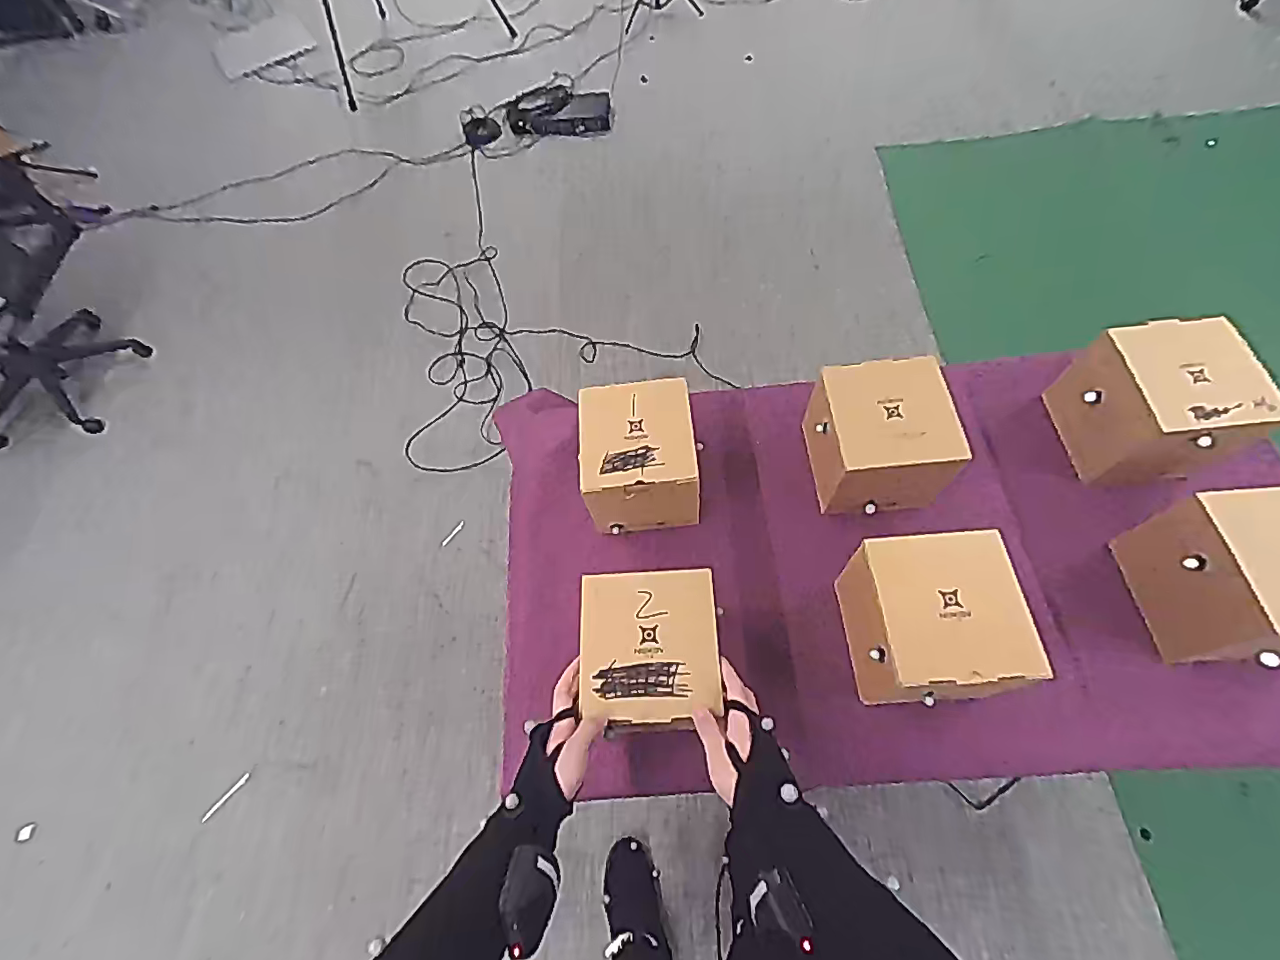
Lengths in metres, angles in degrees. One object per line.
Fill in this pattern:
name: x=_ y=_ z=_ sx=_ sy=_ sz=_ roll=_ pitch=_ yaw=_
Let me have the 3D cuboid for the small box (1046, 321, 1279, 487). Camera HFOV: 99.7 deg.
small box: x=0.756 y=-0.107 z=0.803 sx=0.168 sy=0.176 sz=0.179 roll=-6 pitch=63 yaw=4

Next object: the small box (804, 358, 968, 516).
small box: x=0.357 y=-0.060 z=0.825 sx=0.168 sy=0.176 sz=0.179 roll=-5 pitch=63 yaw=5

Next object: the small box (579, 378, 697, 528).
small box: x=0.000 y=-0.033 z=0.847 sx=0.168 sy=0.176 sz=0.179 roll=-5 pitch=62 yaw=3

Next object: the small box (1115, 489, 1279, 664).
small box: x=0.764 y=0.125 z=0.682 sx=0.168 sy=0.176 sz=0.179 roll=-4 pitch=62 yaw=5
